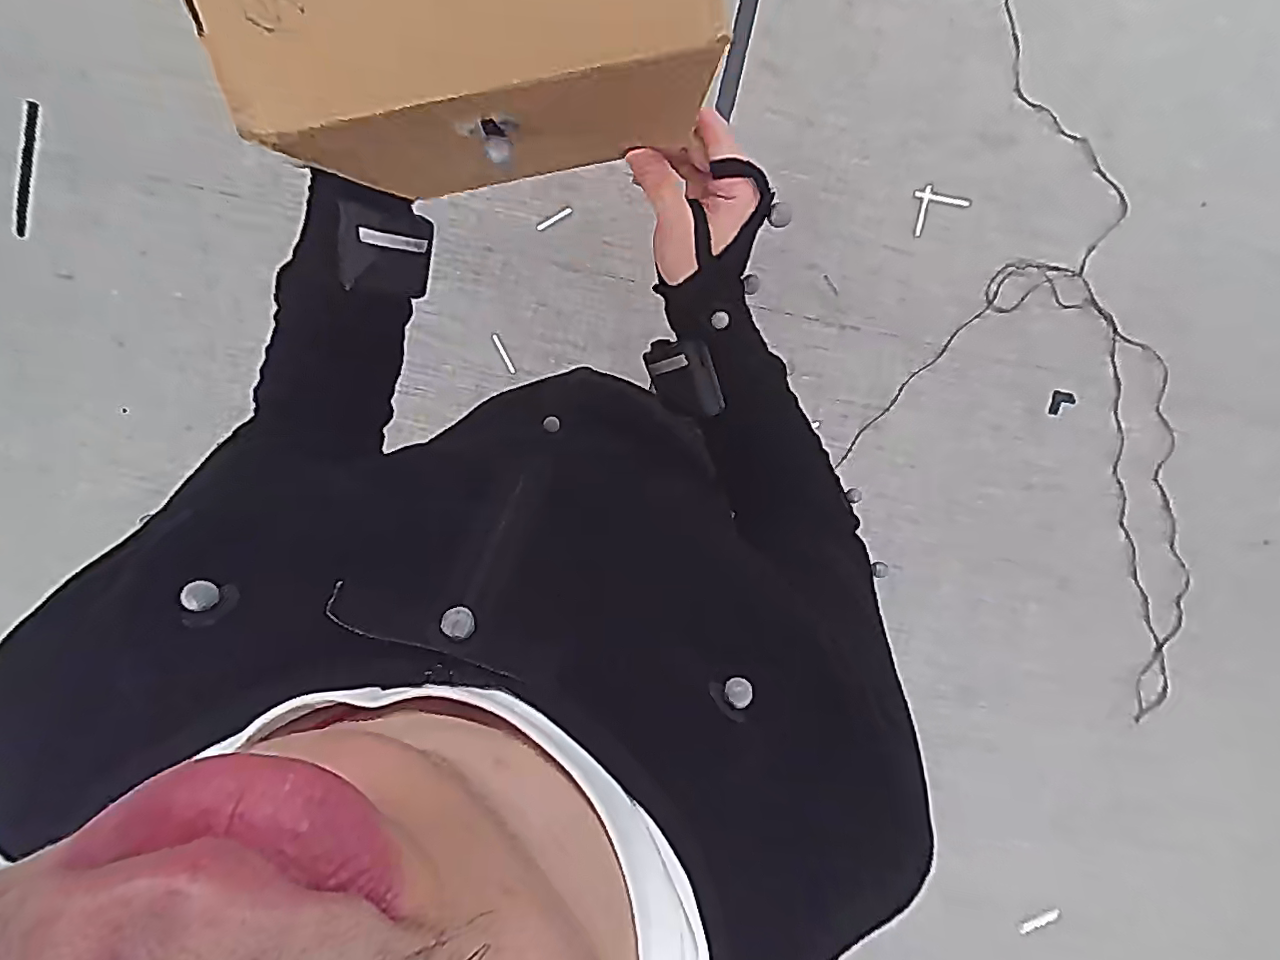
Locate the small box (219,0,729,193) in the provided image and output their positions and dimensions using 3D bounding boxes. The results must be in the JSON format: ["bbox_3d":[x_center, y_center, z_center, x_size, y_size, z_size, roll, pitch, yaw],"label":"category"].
[{"bbox_3d":[-0.068,-0.242,0.242,0.179,0.176,0.168,-11,111,2],"label":"small box"}]
